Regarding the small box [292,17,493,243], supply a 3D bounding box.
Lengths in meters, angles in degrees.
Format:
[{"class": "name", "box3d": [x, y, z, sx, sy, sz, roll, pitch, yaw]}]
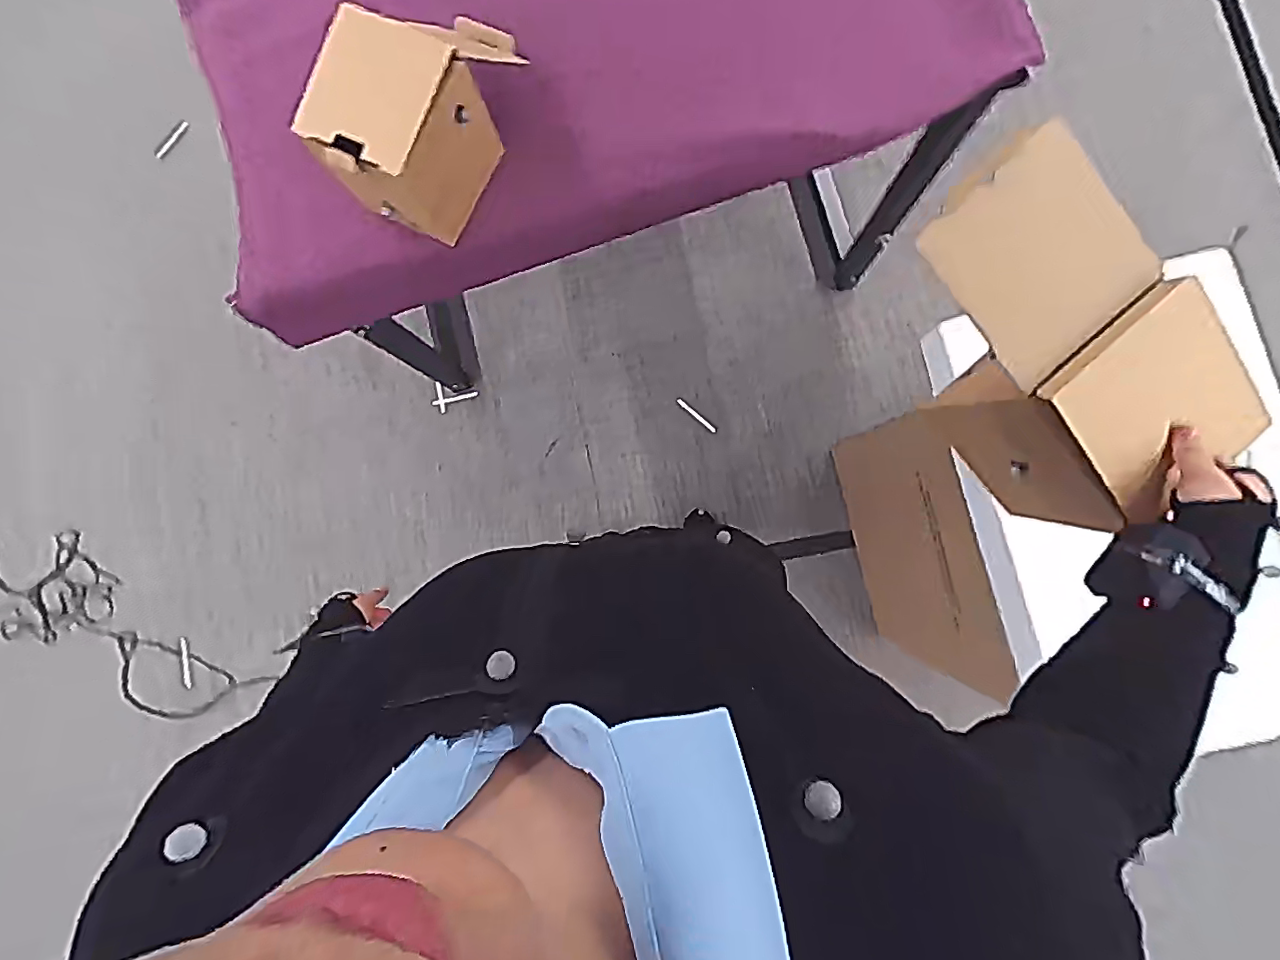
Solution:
[{"class": "small box", "box3d": [-0.330, -0.479, 0.764, 0.168, 0.176, 0.179, 25, 87, 7]}]
